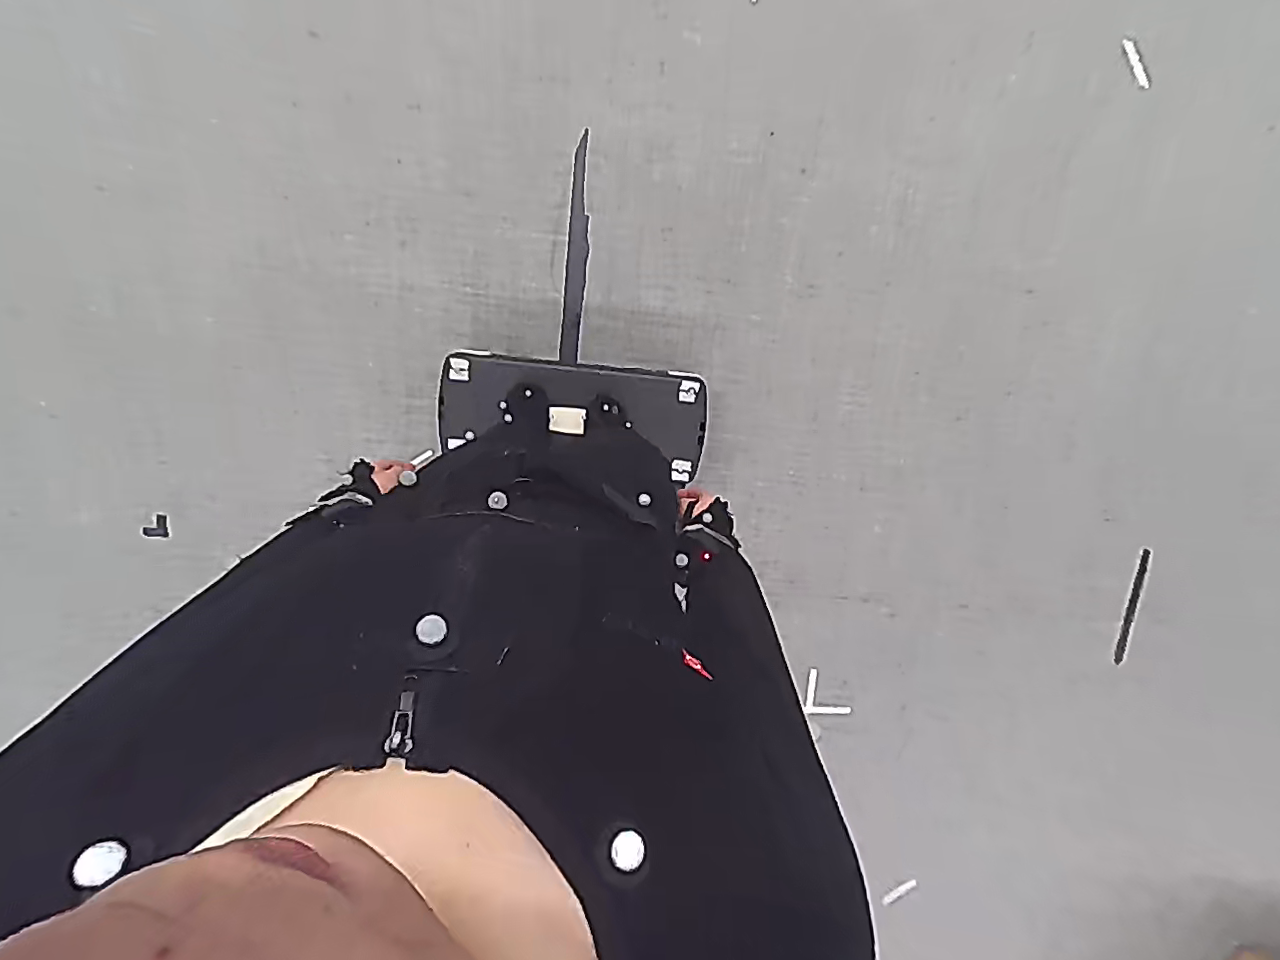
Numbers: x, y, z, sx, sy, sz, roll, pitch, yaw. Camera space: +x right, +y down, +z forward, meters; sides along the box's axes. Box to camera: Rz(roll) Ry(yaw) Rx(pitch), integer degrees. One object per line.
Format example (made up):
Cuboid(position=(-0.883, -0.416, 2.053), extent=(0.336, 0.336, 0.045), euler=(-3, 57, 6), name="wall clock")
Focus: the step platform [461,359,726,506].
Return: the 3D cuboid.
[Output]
Cuboid(position=(-0.119, -0.127, 1.439), extent=(0.684, 0.204, 0.286), euler=(9, 100, -5), name="step platform")
